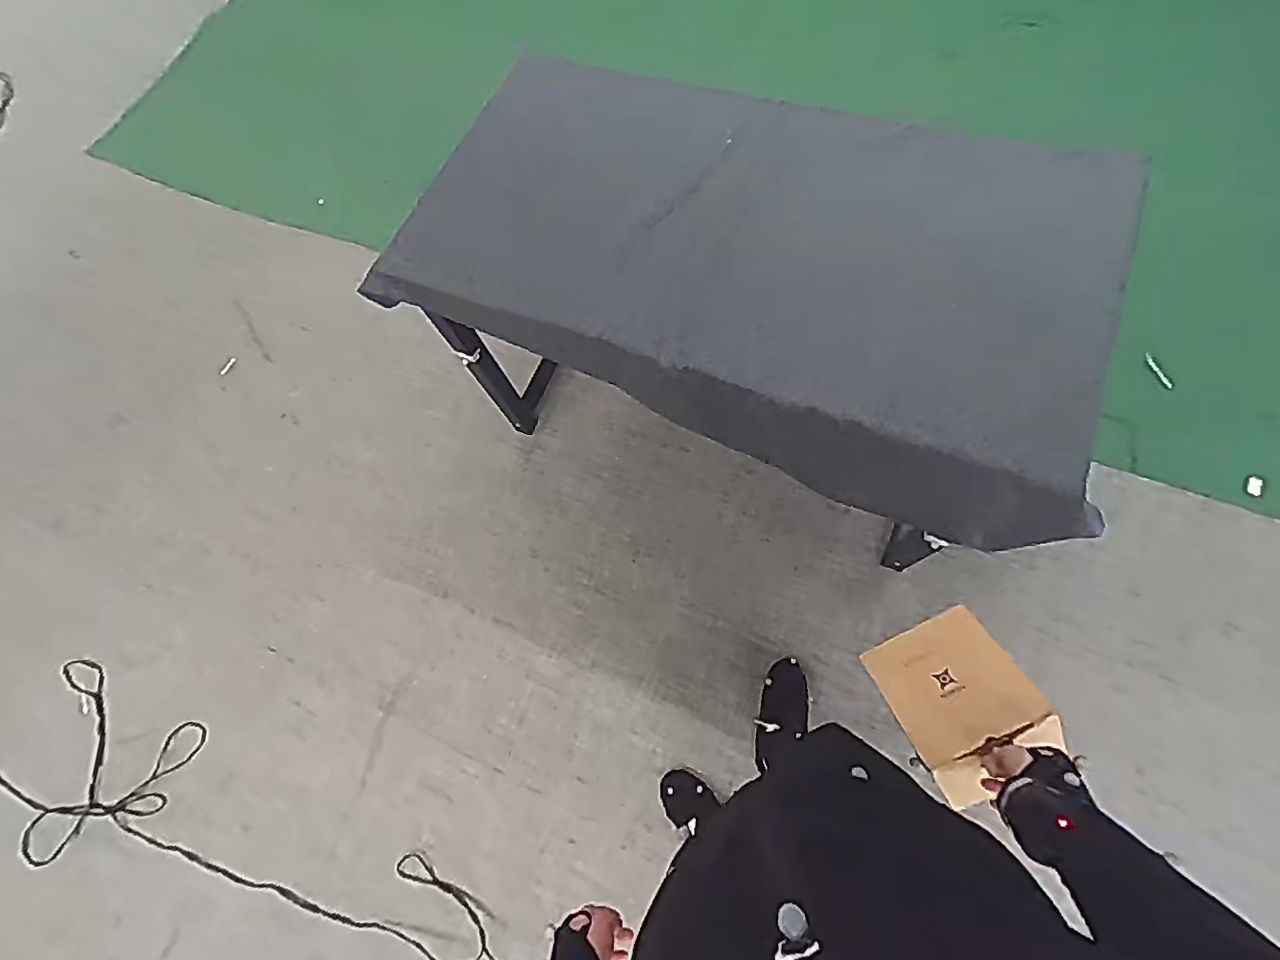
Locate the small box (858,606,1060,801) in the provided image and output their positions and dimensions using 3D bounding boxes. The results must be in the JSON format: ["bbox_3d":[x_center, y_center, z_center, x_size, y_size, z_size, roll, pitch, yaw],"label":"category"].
[{"bbox_3d":[0.442,0.317,0.753,0.168,0.176,0.179,-32,35,10],"label":"small box"}]
